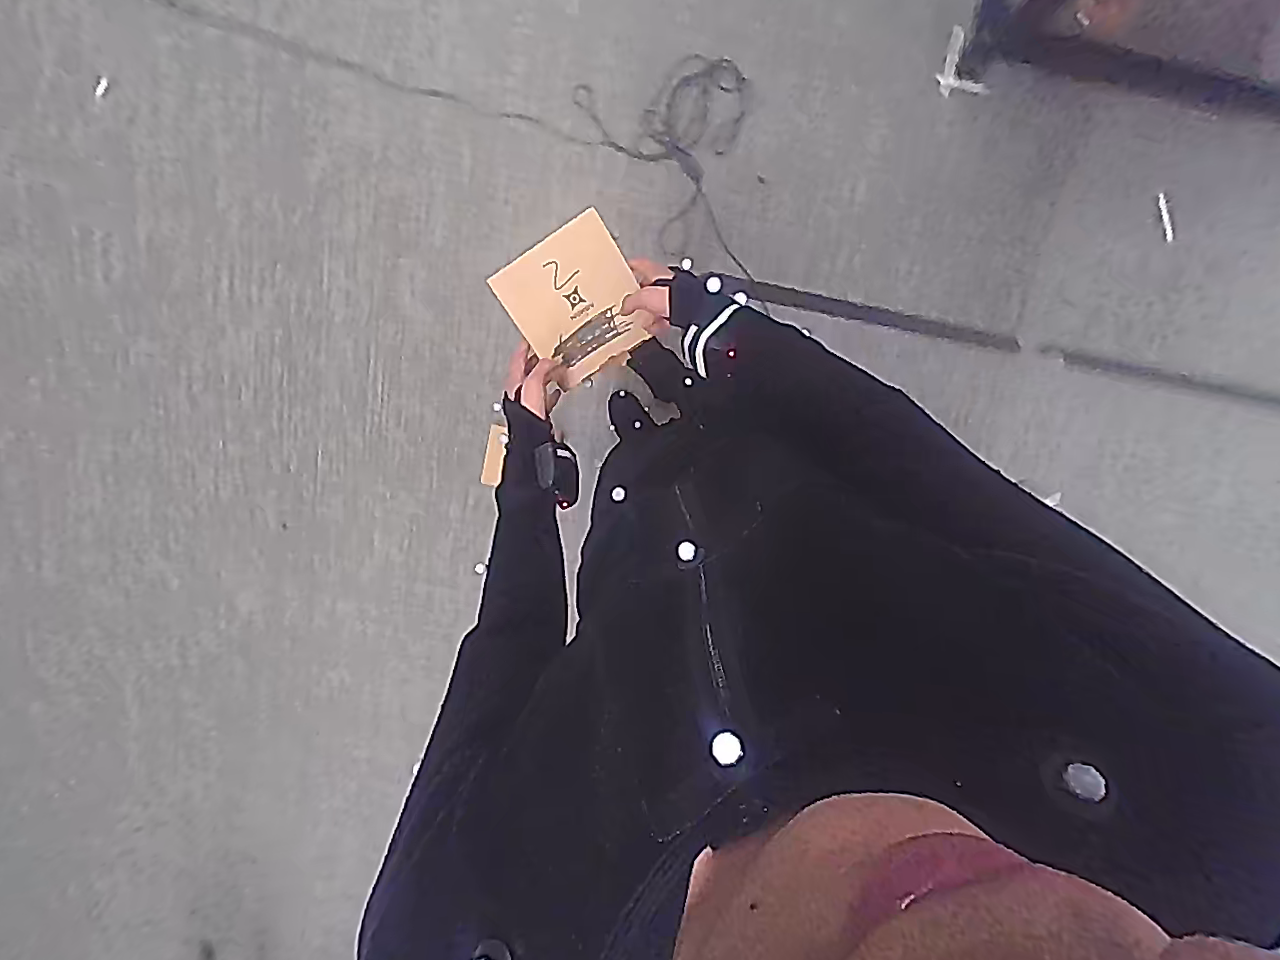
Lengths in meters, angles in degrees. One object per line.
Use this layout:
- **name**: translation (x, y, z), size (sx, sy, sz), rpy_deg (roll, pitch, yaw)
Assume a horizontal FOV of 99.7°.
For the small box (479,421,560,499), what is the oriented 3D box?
- **small box**: translation (-0.332, -0.062, 1.517), size (0.179, 0.176, 0.168), rpy_deg (13, 104, -6)
